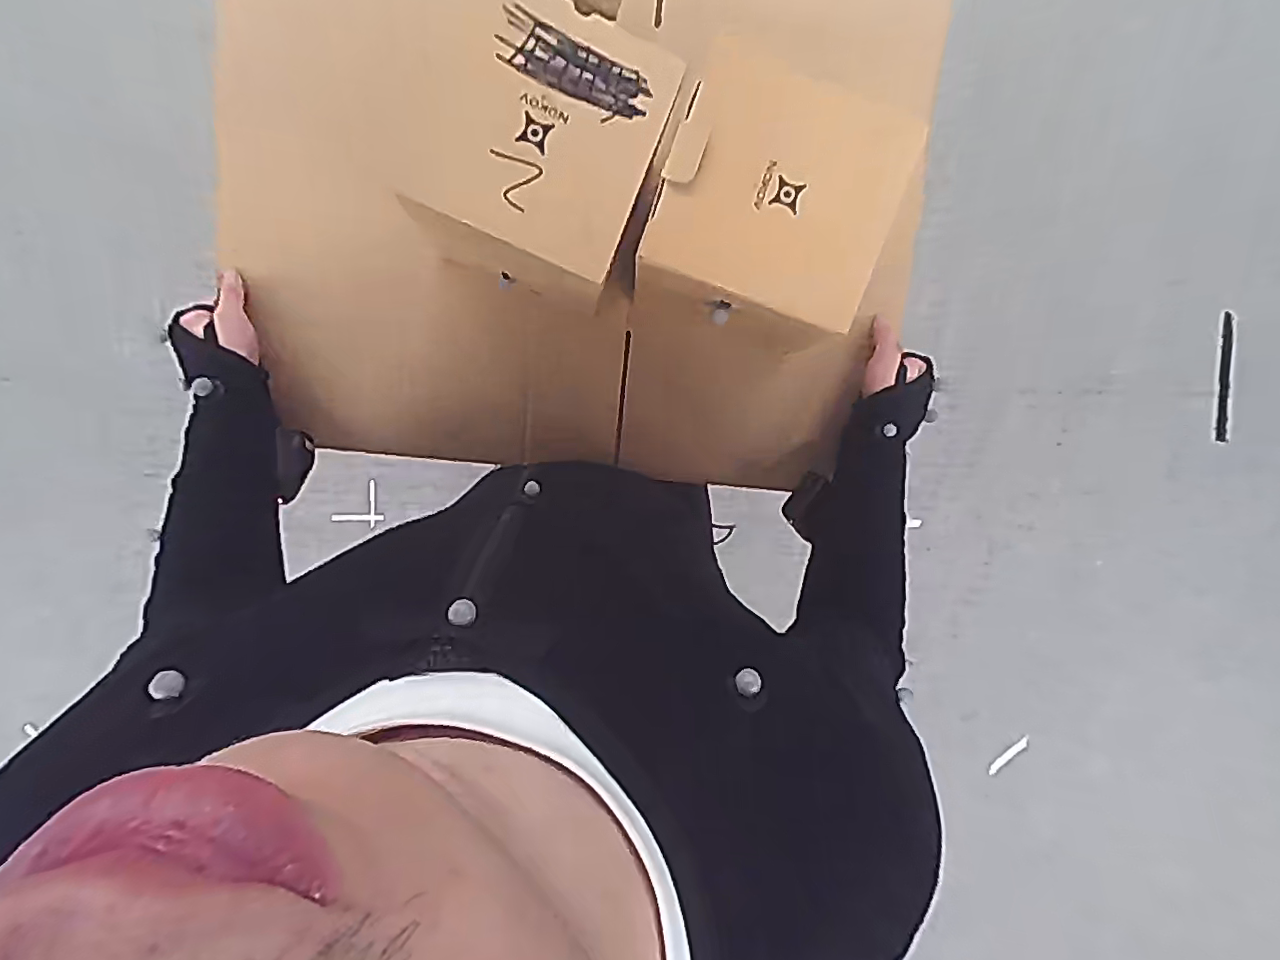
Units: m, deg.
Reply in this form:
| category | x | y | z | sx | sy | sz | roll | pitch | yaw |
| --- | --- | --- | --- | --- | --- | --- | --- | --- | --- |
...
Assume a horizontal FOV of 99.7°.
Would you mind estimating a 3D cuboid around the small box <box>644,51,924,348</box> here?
| category | x | y | z | sx | sy | sz | roll | pitch | yaw |
| --- | --- | --- | --- | --- | --- | --- | --- | --- | --- |
| small box | 0.112 | -0.230 | 0.500 | 0.179 | 0.176 | 0.168 | 20 | 96 | -2 |
